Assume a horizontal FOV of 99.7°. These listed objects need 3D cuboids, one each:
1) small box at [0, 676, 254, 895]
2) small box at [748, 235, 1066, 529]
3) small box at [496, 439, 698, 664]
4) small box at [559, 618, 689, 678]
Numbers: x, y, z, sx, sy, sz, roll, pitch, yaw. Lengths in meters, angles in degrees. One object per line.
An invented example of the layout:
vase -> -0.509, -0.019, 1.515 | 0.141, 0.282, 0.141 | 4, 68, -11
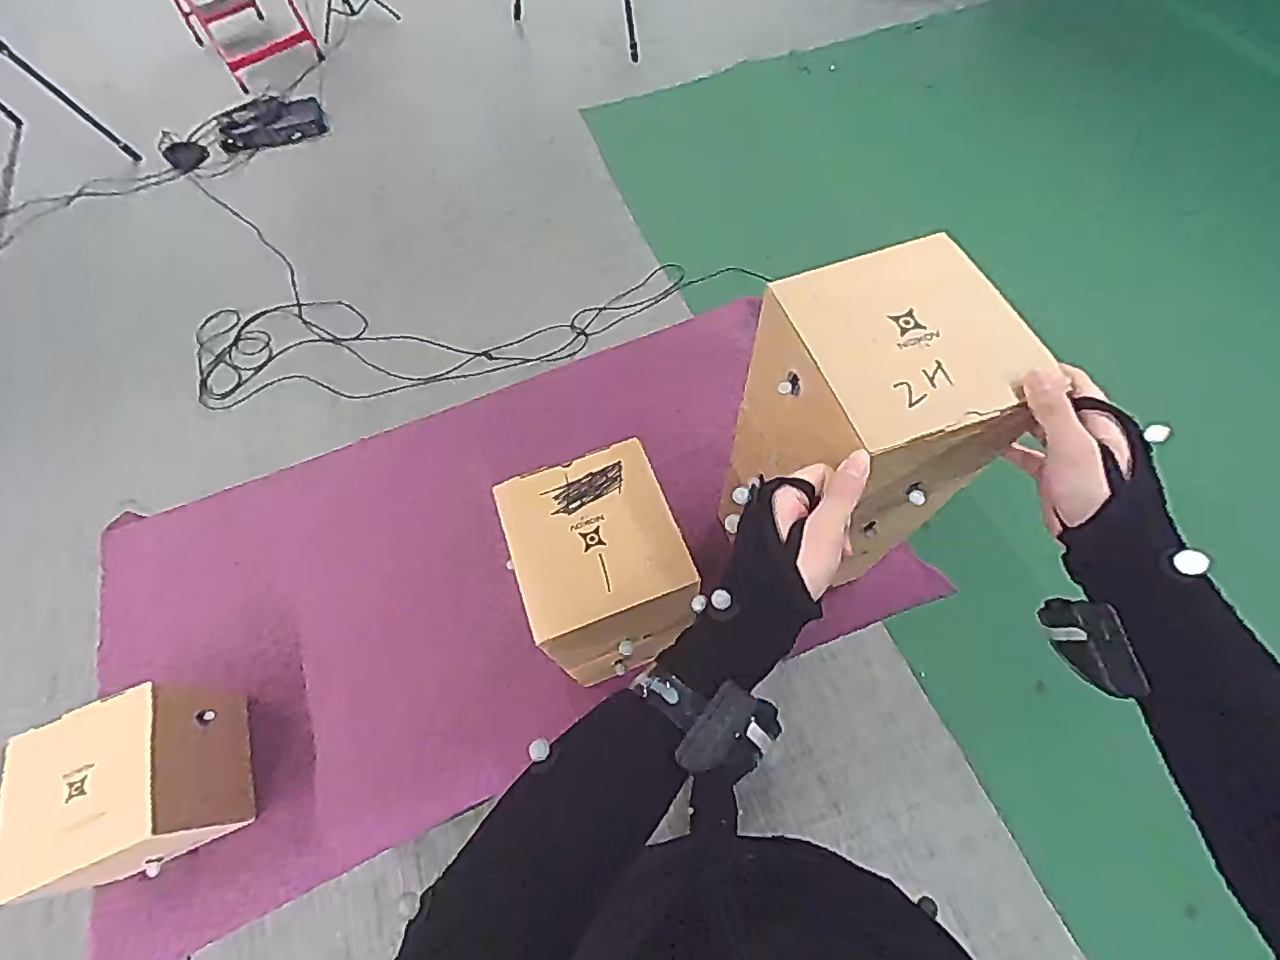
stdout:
small box -> -0.624, 0.371, 0.677 | 0.168, 0.176, 0.179 | -22, 64, -7
small box -> 0.210, -0.080, 0.490 | 0.168, 0.176, 0.179 | -17, 65, -4
small box -> -0.045, 0.087, 0.609 | 0.168, 0.176, 0.179 | -19, 64, -6
small box -> -0.037, 0.162, 0.754 | 0.168, 0.176, 0.179 | -20, 63, -6
